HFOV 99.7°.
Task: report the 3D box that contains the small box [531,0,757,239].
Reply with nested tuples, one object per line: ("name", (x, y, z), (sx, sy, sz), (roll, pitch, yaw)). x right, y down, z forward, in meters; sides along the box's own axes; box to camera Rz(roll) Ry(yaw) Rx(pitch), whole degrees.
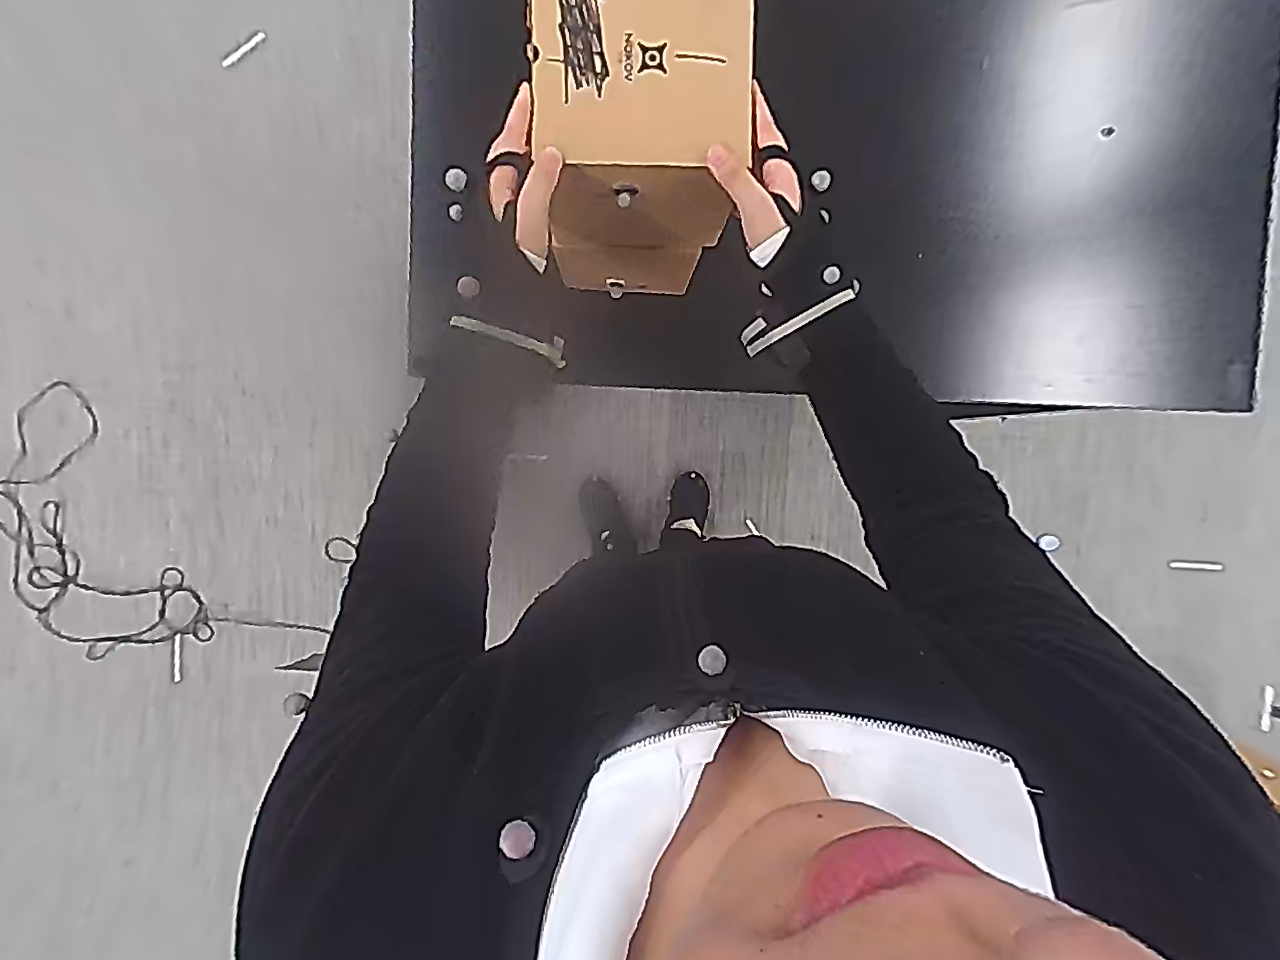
("small box", (0.001, -0.336, 0.498), (0.179, 0.176, 0.168), (0, 94, -2))

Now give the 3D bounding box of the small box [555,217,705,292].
("small box", (-0.010, -0.345, 0.661), (0.168, 0.176, 0.179), (2, 94, -1))

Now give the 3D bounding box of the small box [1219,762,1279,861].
("small box", (1.620, 0.838, 1.357), (0.179, 0.176, 0.168), (-5, 94, -1))
